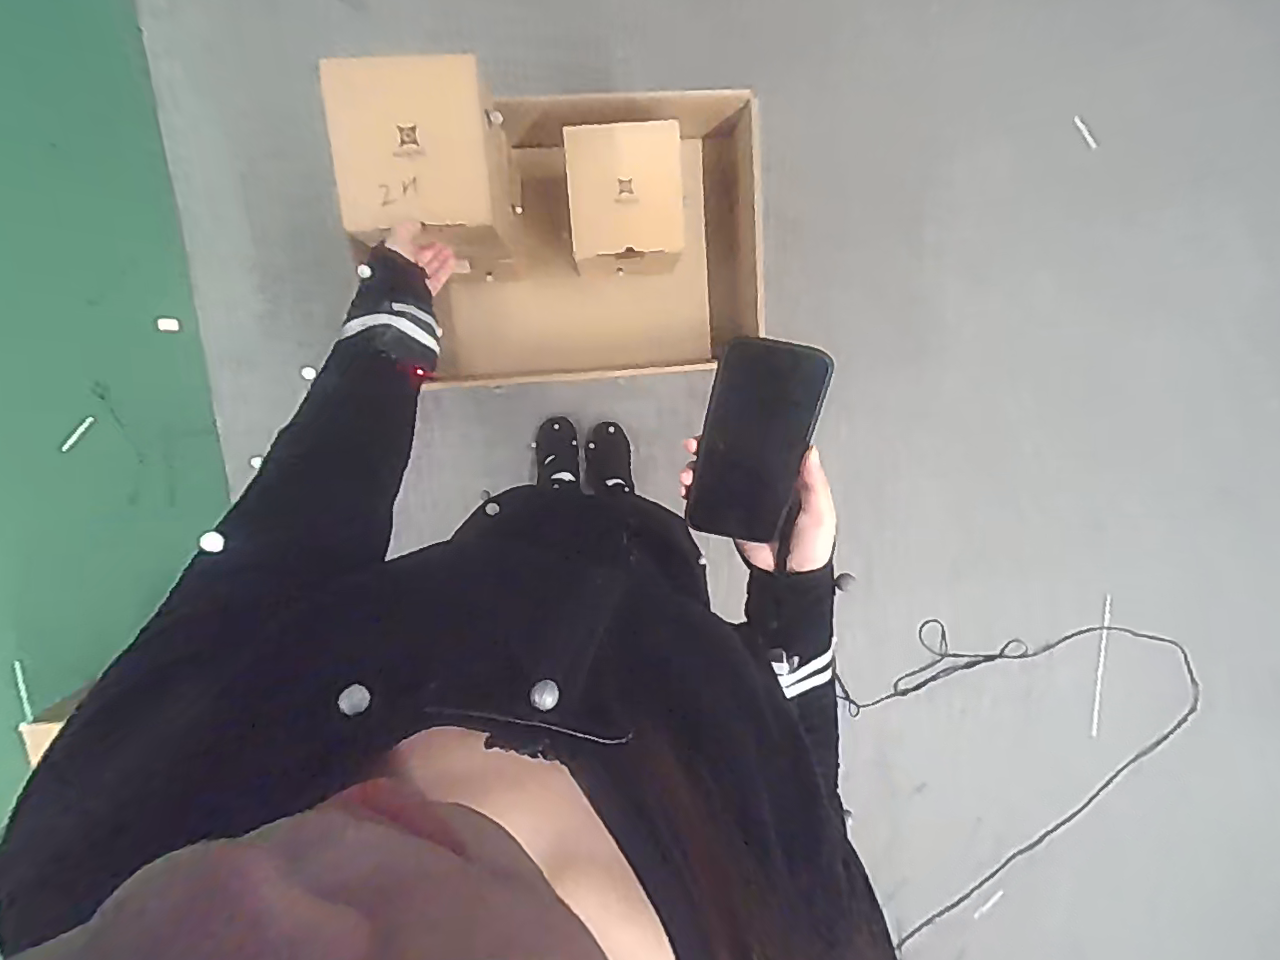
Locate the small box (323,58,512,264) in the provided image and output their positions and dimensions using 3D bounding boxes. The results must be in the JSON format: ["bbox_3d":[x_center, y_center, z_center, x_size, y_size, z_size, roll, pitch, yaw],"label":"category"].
[{"bbox_3d":[-0.260,-0.382,0.675,0.168,0.176,0.179,-4,101,-3],"label":"small box"}]

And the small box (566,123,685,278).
[{"bbox_3d":[-0.024,-0.426,0.849,0.168,0.176,0.179,-4,102,-2],"label":"small box"}]
